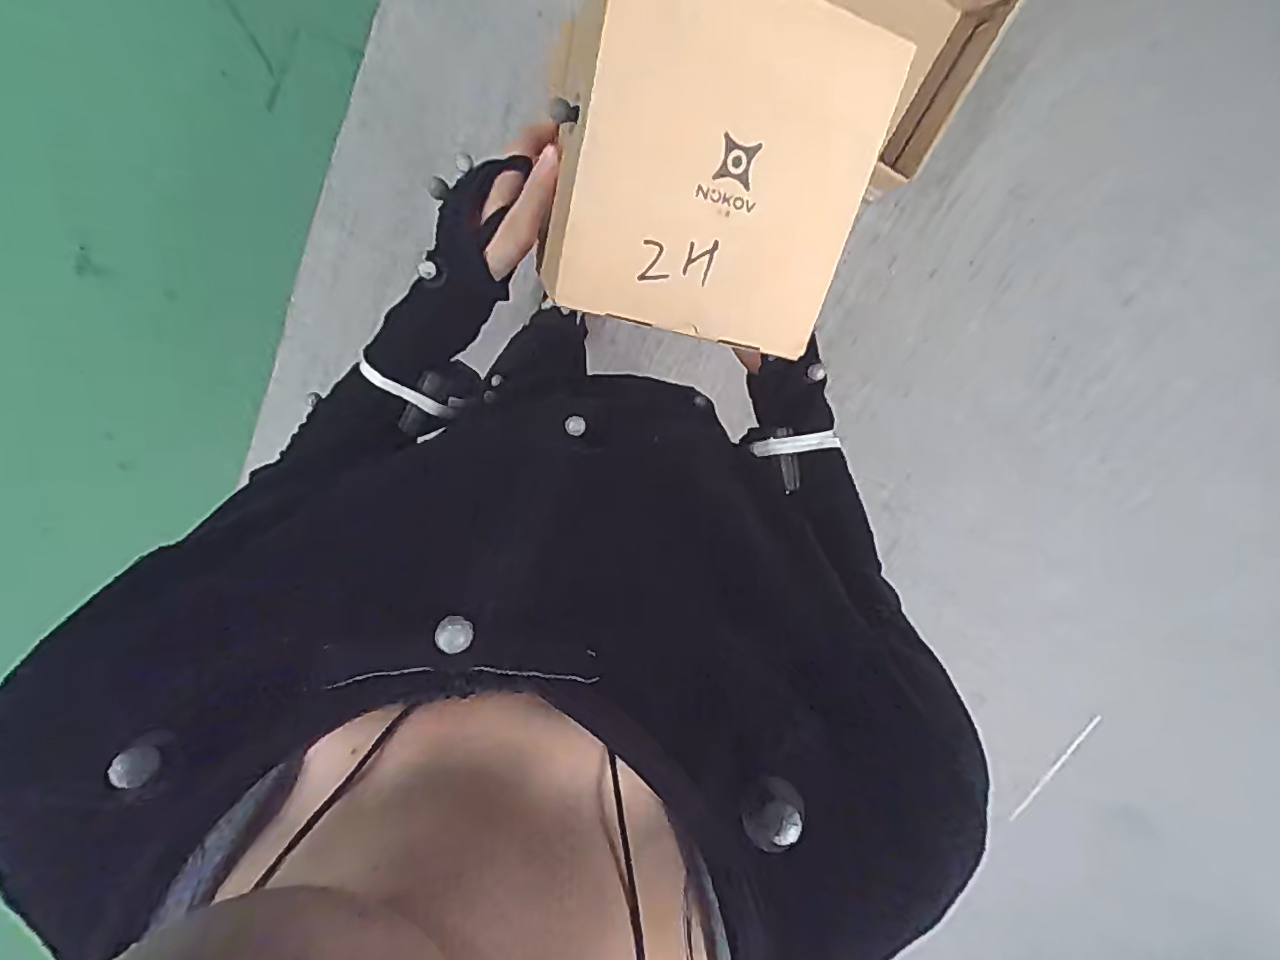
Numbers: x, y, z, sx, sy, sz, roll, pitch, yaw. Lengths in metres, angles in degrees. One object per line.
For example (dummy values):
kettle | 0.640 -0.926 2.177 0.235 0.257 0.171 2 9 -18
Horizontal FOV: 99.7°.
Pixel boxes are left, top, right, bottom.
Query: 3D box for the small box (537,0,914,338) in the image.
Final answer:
small box | 0.029 -0.216 0.361 0.168 0.176 0.179 10 114 -18
